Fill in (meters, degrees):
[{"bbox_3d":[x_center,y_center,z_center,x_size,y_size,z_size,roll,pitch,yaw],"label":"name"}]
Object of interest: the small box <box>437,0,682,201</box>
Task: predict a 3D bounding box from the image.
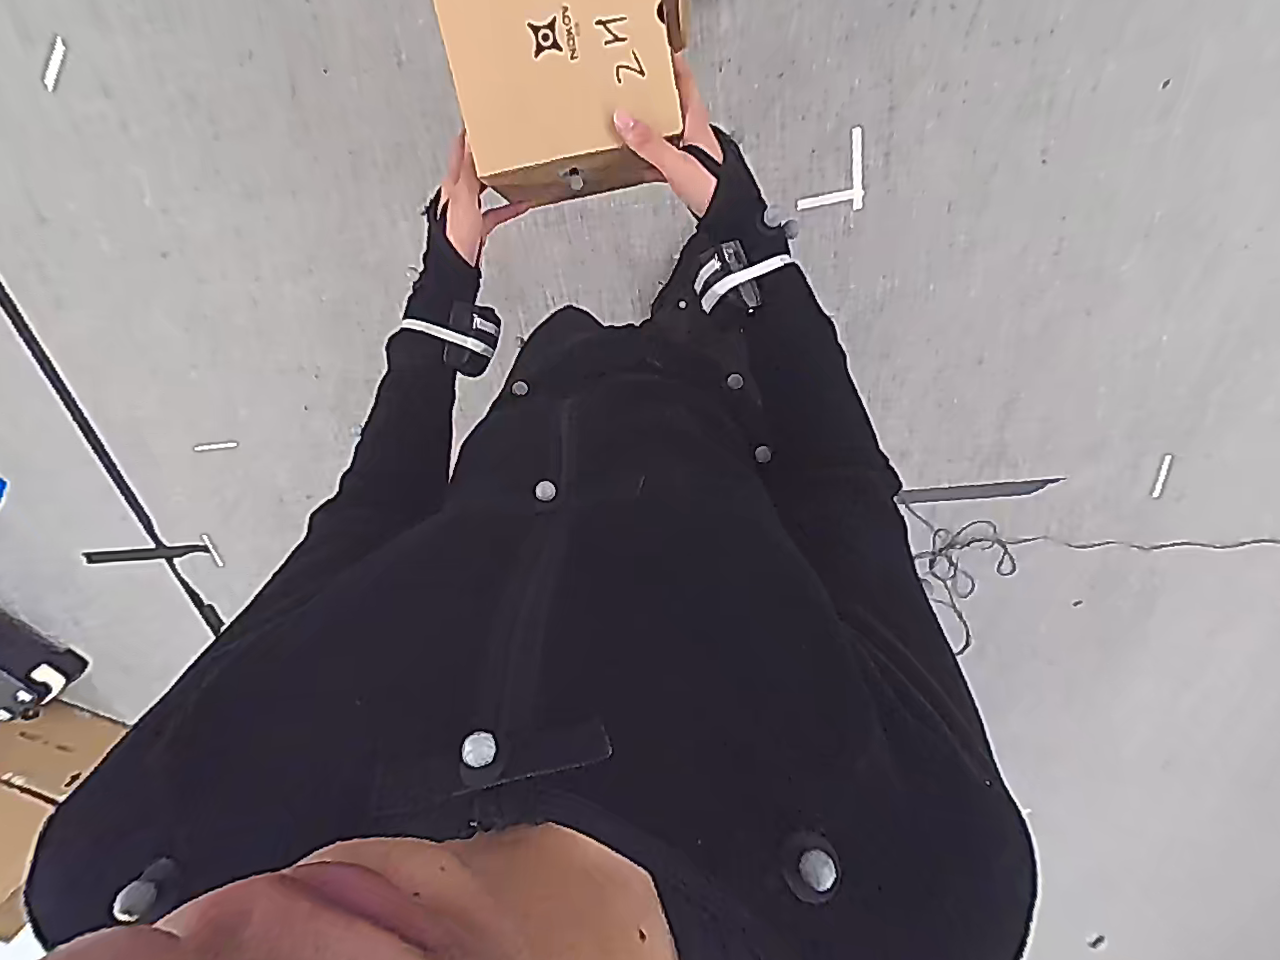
[{"bbox_3d":[-0.064,-0.371,0.496,0.179,0.176,0.168,-11,108,2],"label":"small box"}]
